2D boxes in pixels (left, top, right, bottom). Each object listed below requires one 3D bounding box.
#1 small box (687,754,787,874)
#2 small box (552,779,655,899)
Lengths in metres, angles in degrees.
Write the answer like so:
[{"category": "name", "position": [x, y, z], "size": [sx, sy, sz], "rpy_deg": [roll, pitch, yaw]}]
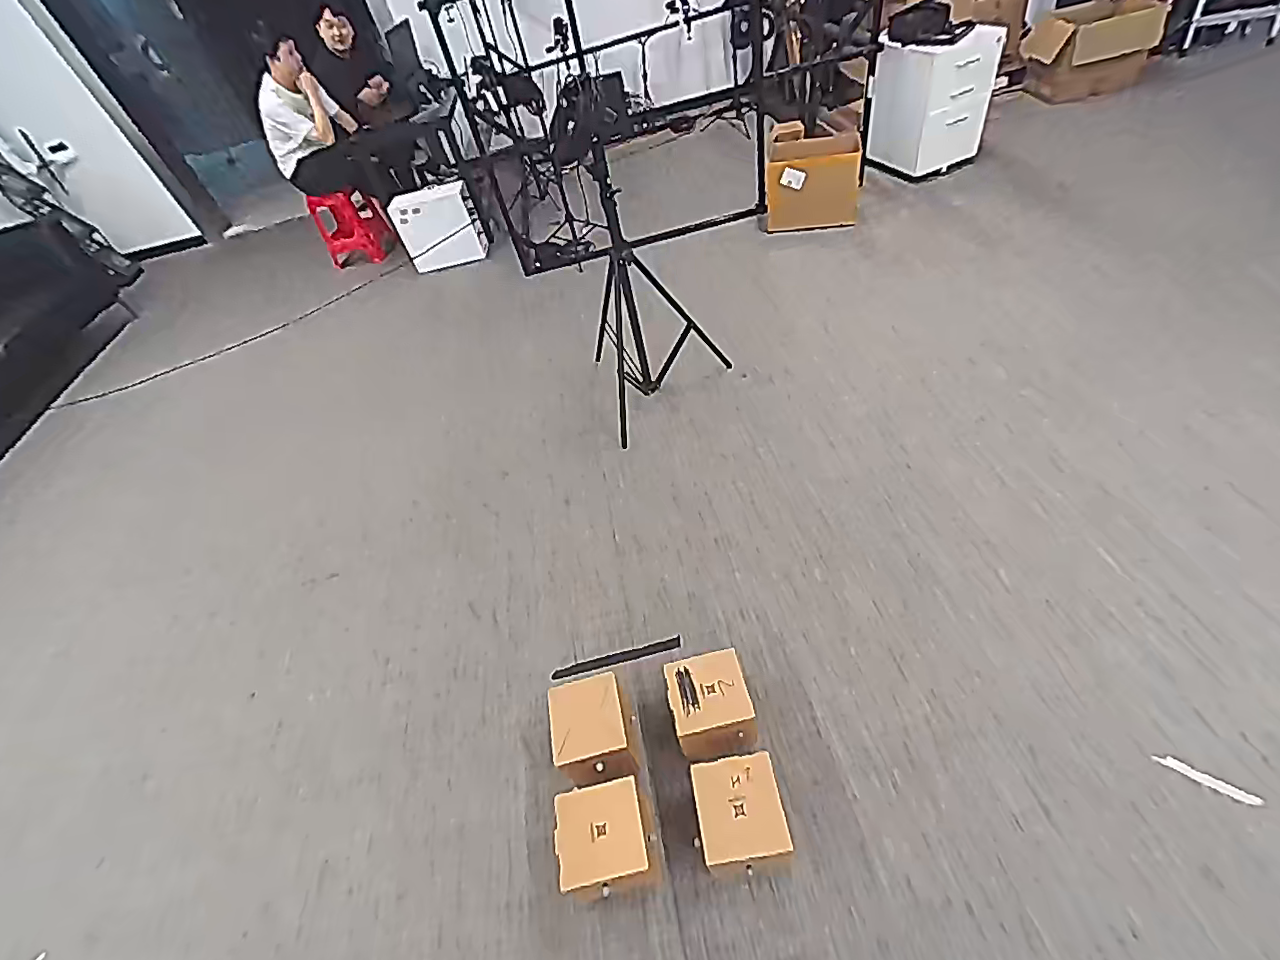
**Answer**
[{"category": "small box", "position": [0.199, 0.692, 1.111], "size": [0.168, 0.176, 0.179], "rpy_deg": [-12, 47, 2]}, {"category": "small box", "position": [-0.071, 0.751, 1.128], "size": [0.179, 0.176, 0.168], "rpy_deg": [-15, 47, 1]}]
